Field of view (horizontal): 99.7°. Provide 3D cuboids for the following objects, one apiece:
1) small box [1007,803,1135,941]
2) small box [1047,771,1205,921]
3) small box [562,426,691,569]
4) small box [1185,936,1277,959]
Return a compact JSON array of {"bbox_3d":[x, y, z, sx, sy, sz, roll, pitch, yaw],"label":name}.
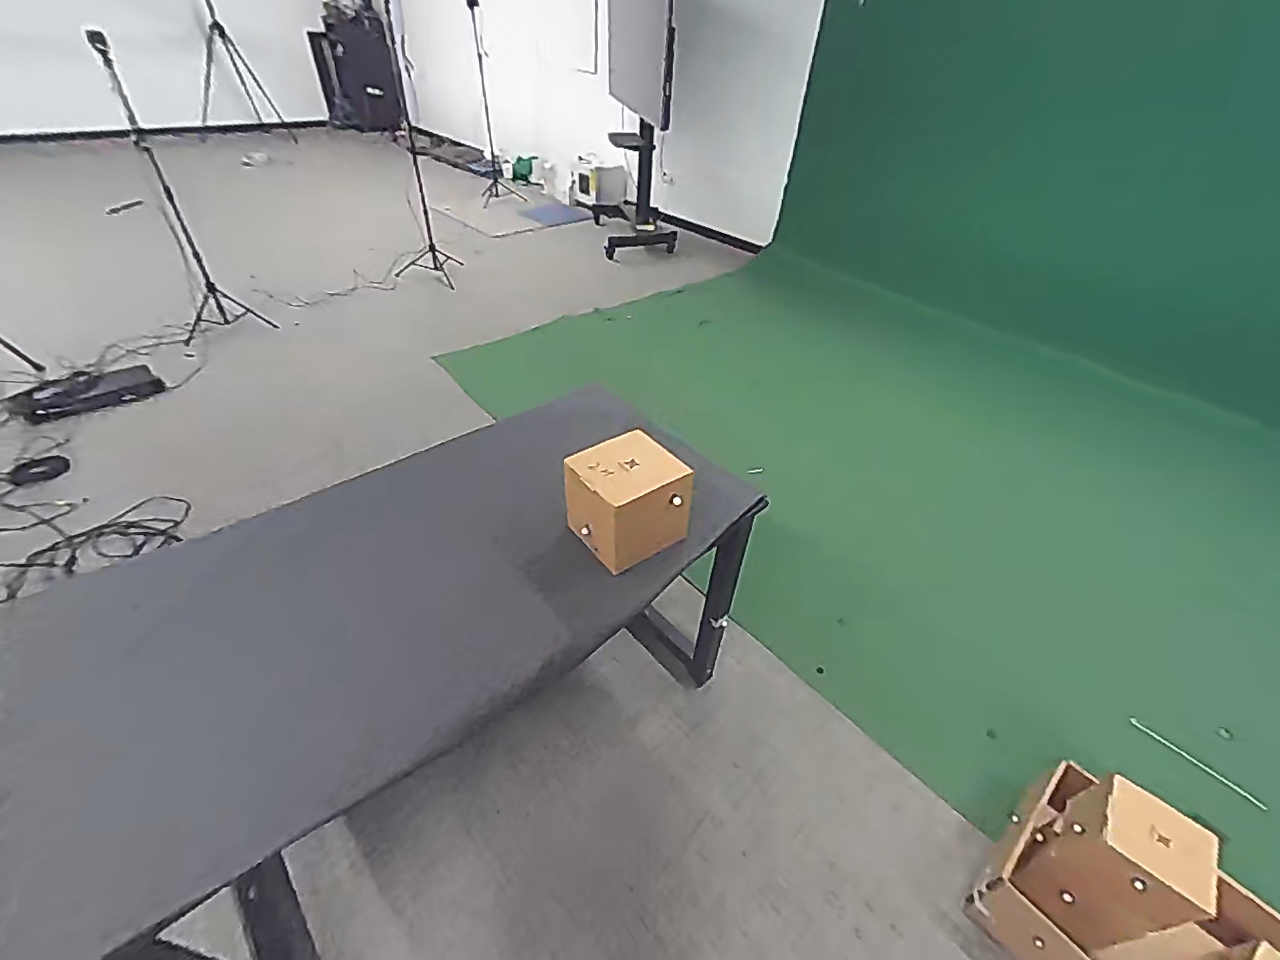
[{"bbox_3d":[0.964,0.866,1.197,0.168,0.176,0.179,-27,50,-30],"label":"small box"},{"bbox_3d":[0.971,0.740,1.091,0.179,0.176,0.168,33,50,25],"label":"small box"},{"bbox_3d":[-0.030,0.031,1.010,0.179,0.176,0.168,-25,47,-29],"label":"small box"},{"bbox_3d":[1.168,1.030,1.031,0.179,0.176,0.168,-23,47,-26],"label":"small box"}]
